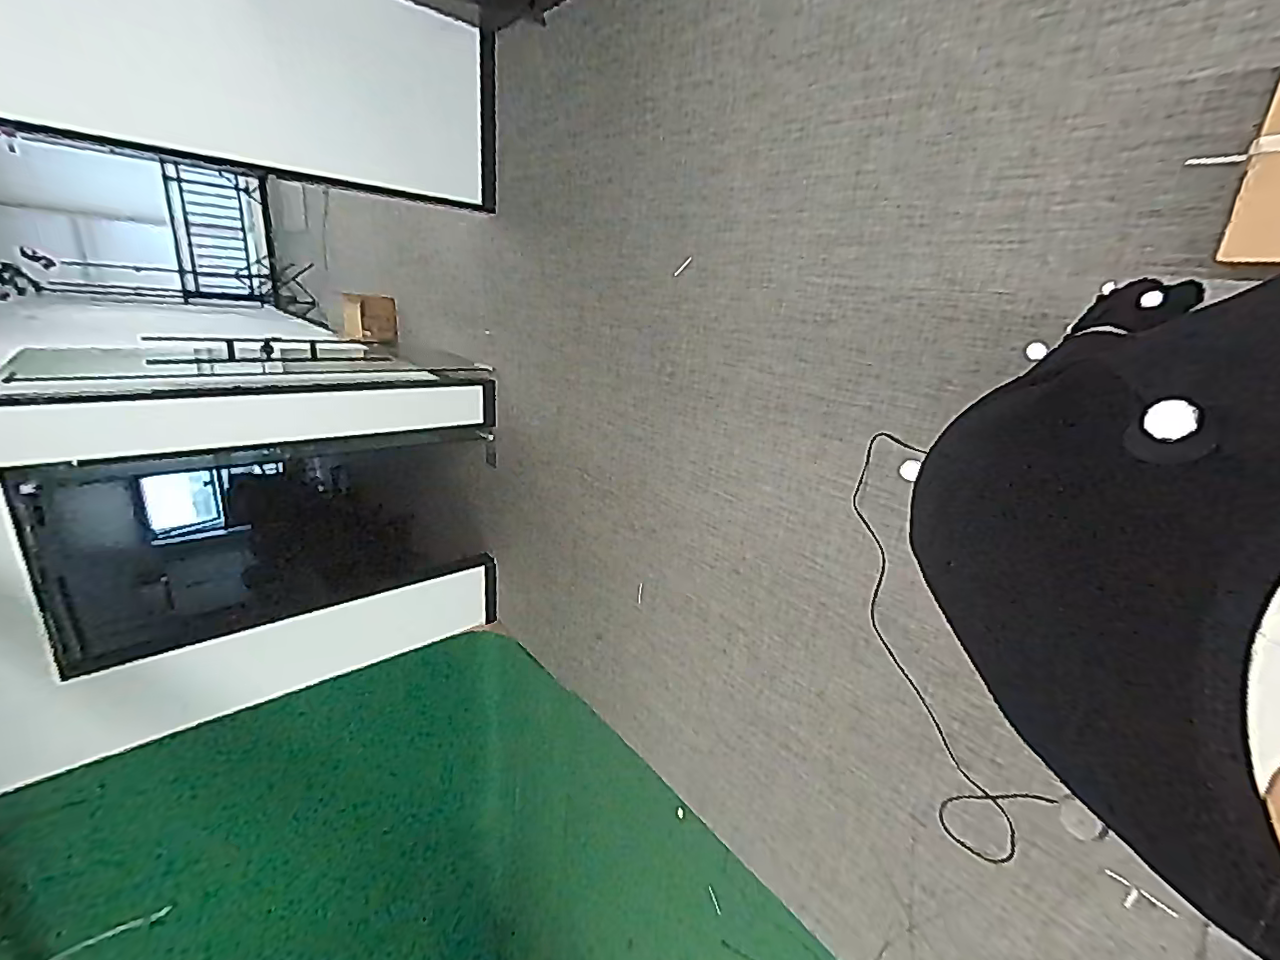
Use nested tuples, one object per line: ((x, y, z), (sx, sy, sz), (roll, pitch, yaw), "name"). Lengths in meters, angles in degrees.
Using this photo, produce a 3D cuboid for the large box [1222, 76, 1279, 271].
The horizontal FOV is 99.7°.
((1.119, -0.461, 0.722), (0.408, 0.320, 0.320), (23, 116, 44), "large box")
